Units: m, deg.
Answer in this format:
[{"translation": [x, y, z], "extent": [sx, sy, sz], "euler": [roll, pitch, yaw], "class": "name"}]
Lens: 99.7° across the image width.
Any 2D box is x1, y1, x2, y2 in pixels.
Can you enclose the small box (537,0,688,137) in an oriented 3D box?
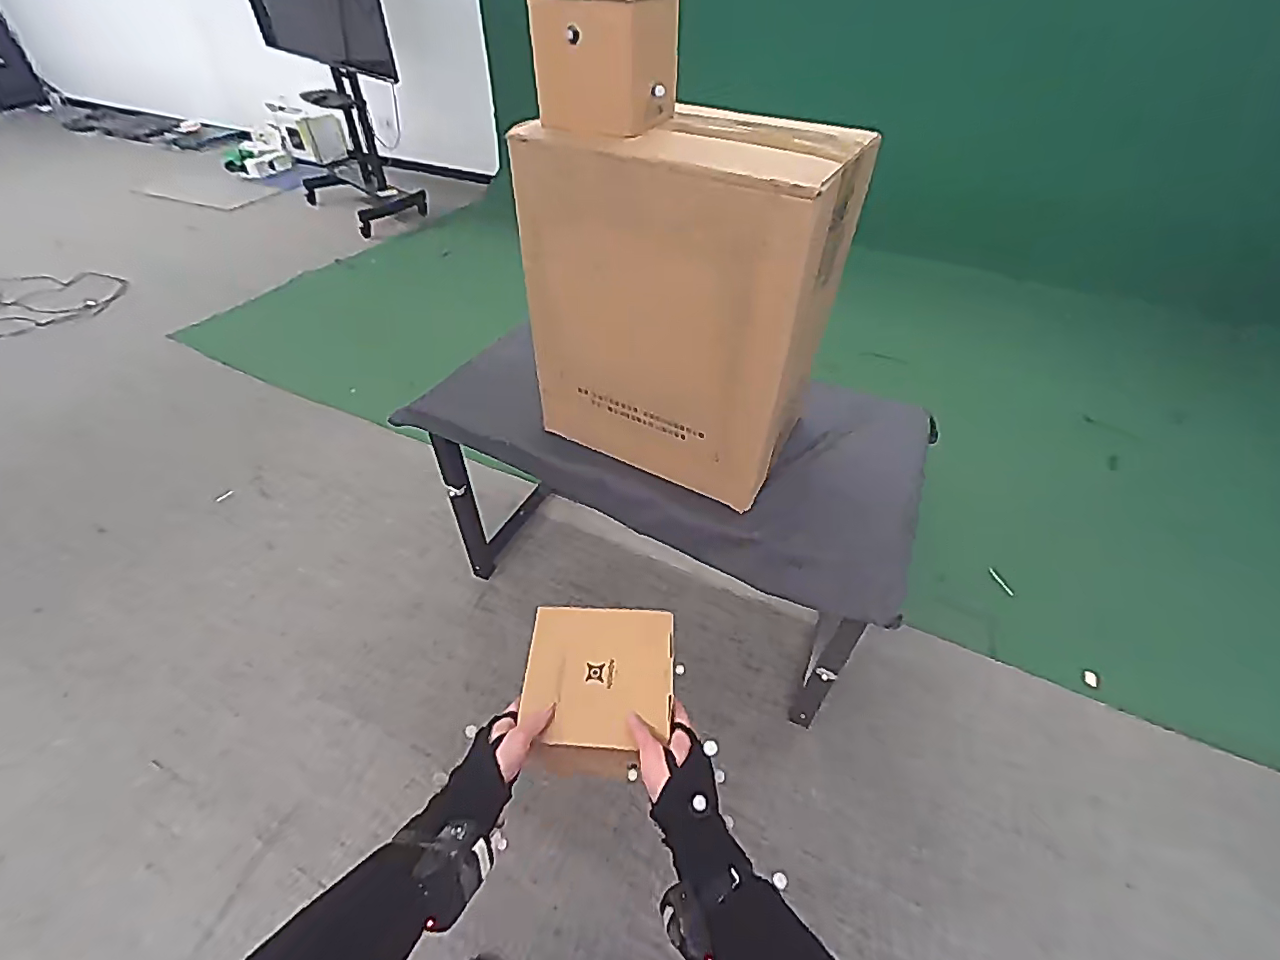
[{"translation": [-0.038, -0.675, 0.876], "extent": [0.179, 0.176, 0.168], "euler": [23, 52, 21], "class": "small box"}]
